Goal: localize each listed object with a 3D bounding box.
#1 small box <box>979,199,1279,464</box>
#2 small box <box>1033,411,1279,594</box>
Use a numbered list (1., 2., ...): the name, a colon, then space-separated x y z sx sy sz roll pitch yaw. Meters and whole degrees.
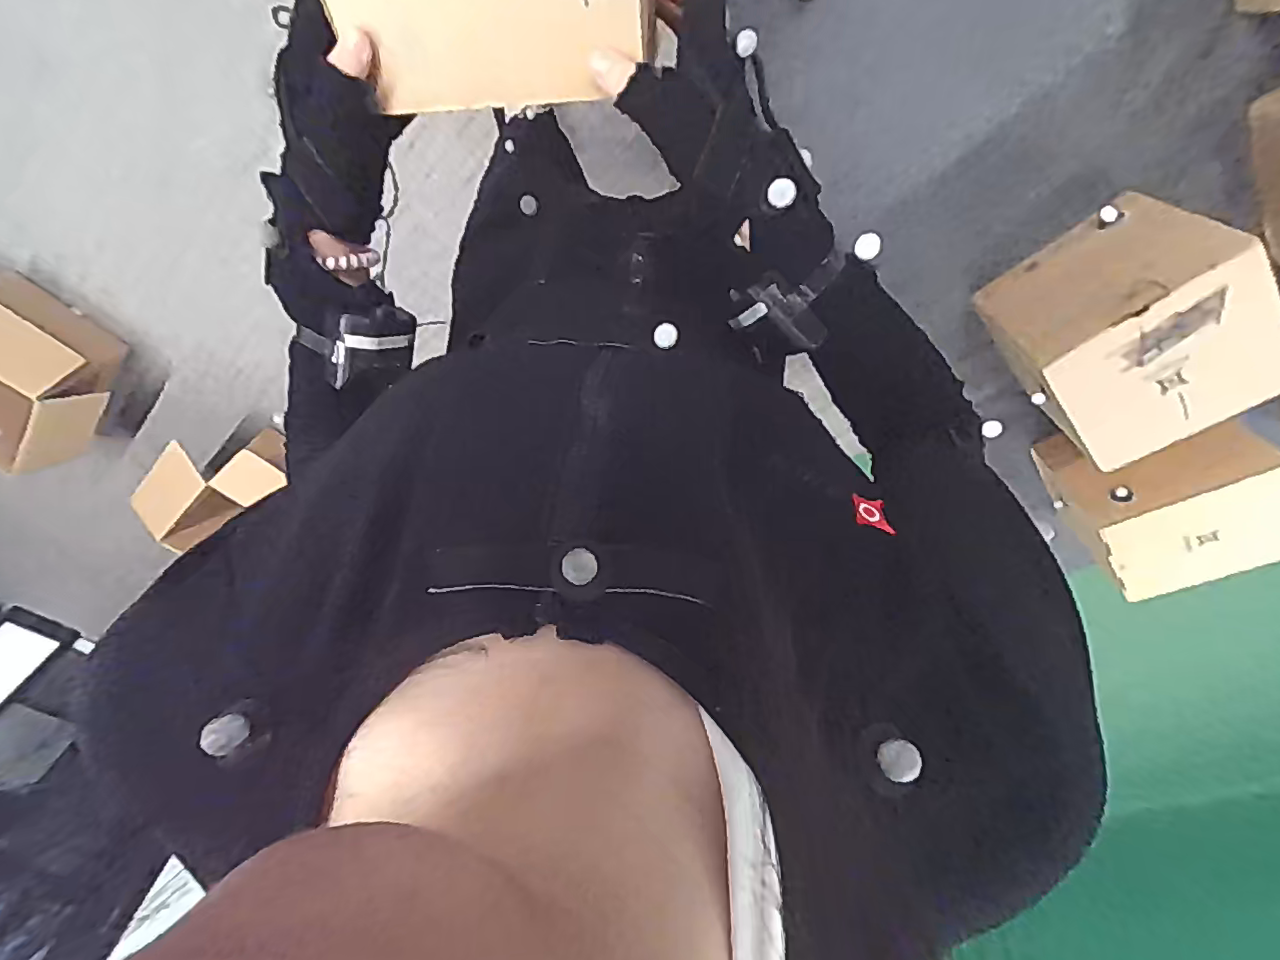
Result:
1. small box: 0.491 -0.156 0.554 0.168 0.176 0.179 -36 120 29
2. small box: 0.650 0.008 0.683 0.179 0.176 0.168 -30 122 26
